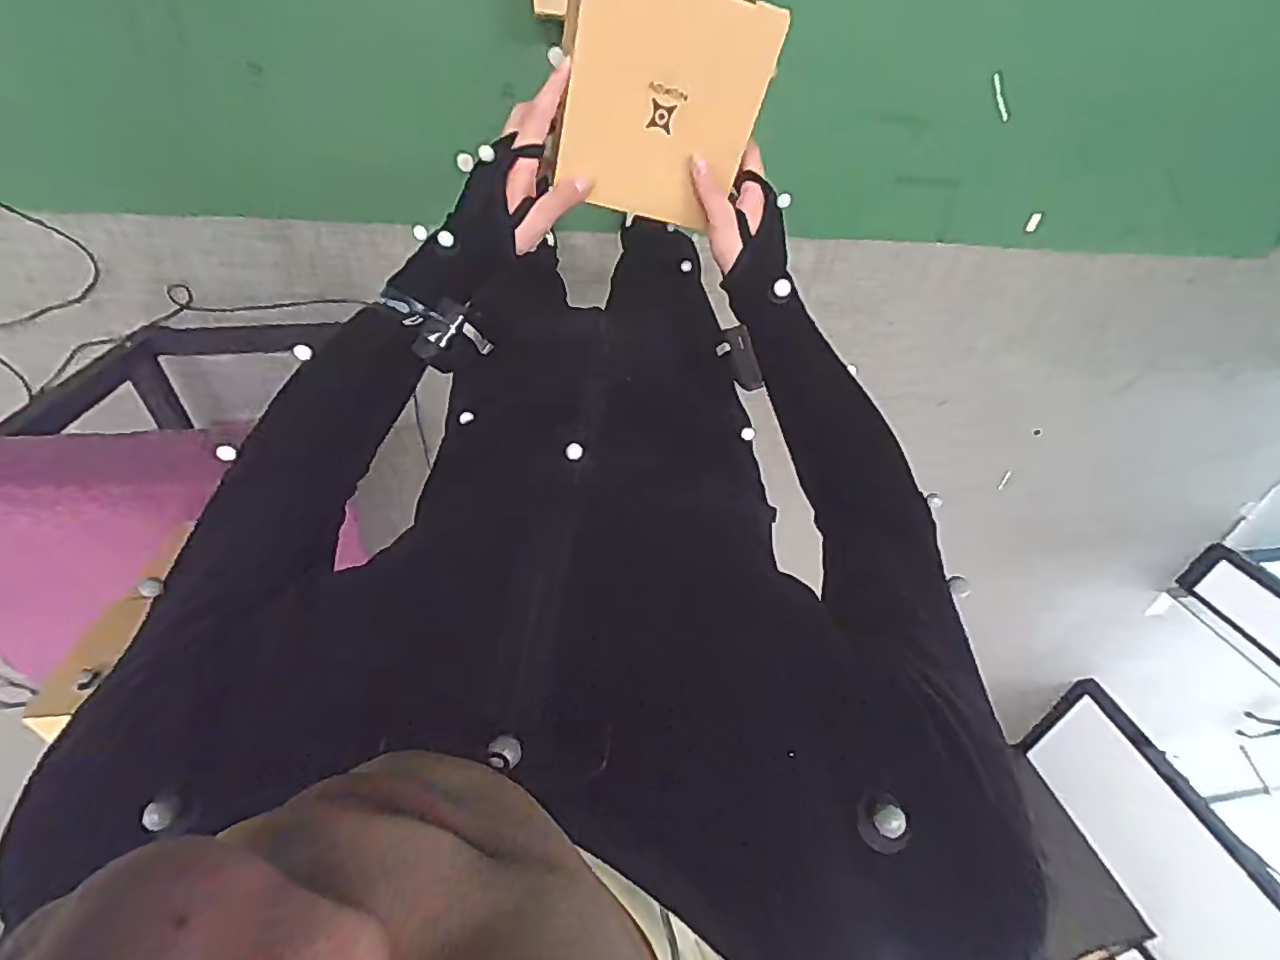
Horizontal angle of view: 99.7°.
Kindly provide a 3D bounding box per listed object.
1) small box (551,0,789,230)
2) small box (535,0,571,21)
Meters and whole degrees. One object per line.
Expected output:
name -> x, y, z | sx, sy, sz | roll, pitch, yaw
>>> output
small box -> 0.010, -0.374, 0.517 | 0.168, 0.176, 0.179 | 6, 132, -16
small box -> -0.114, -0.968, 1.002 | 0.168, 0.176, 0.179 | -2, 129, -9
